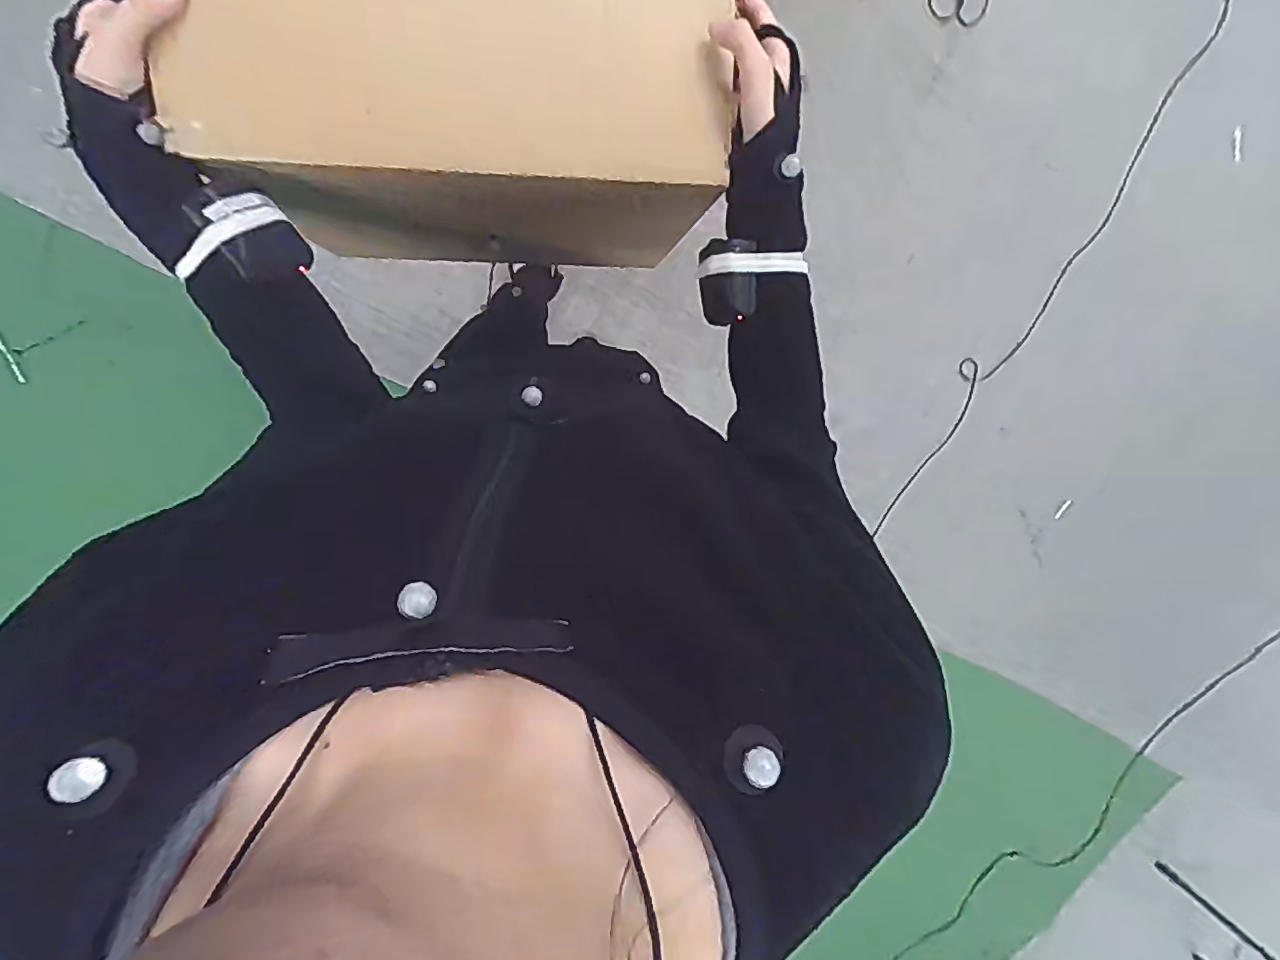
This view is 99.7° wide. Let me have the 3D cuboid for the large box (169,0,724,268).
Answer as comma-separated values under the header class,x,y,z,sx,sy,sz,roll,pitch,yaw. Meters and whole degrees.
class,x,y,z,sx,sy,sz,roll,pitch,yaw
large box,-0.152,-0.405,0.543,0.408,0.320,0.320,-2,99,-9
